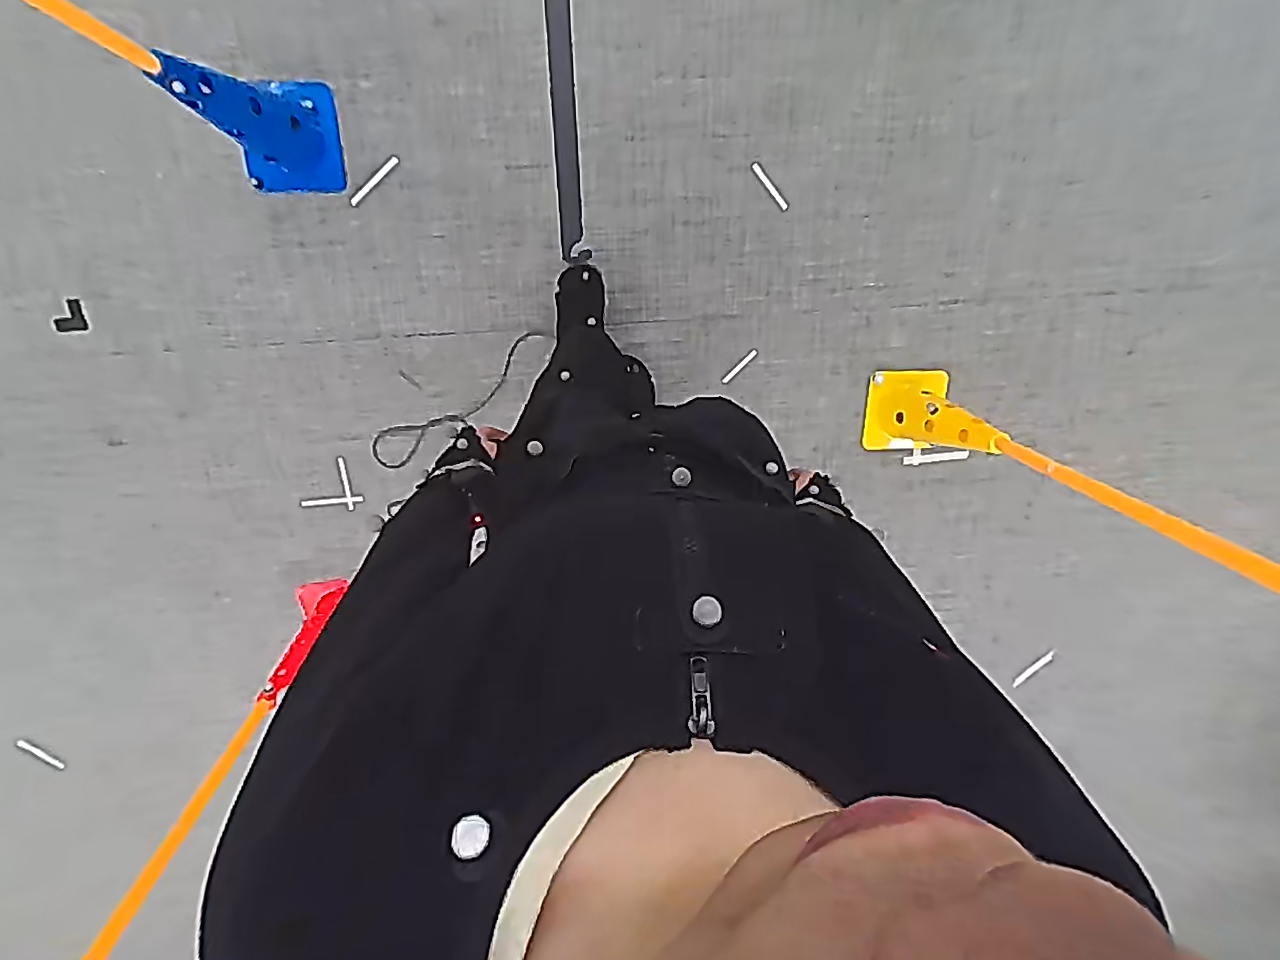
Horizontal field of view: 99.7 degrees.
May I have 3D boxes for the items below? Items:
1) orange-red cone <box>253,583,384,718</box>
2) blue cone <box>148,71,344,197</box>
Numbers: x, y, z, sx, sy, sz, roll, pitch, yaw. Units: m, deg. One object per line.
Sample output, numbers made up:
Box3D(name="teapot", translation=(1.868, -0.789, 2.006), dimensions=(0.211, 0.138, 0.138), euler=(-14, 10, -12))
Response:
Box3D(name="orange-red cone", translation=(-0.787, 0.419, 1.274), dimensions=(0.199, 0.360, 0.198), euler=(-8, 108, -2))
Box3D(name="blue cone", translation=(-0.715, -0.645, 0.965), dimensions=(0.193, 0.380, 0.192), euler=(0, 108, -3))
